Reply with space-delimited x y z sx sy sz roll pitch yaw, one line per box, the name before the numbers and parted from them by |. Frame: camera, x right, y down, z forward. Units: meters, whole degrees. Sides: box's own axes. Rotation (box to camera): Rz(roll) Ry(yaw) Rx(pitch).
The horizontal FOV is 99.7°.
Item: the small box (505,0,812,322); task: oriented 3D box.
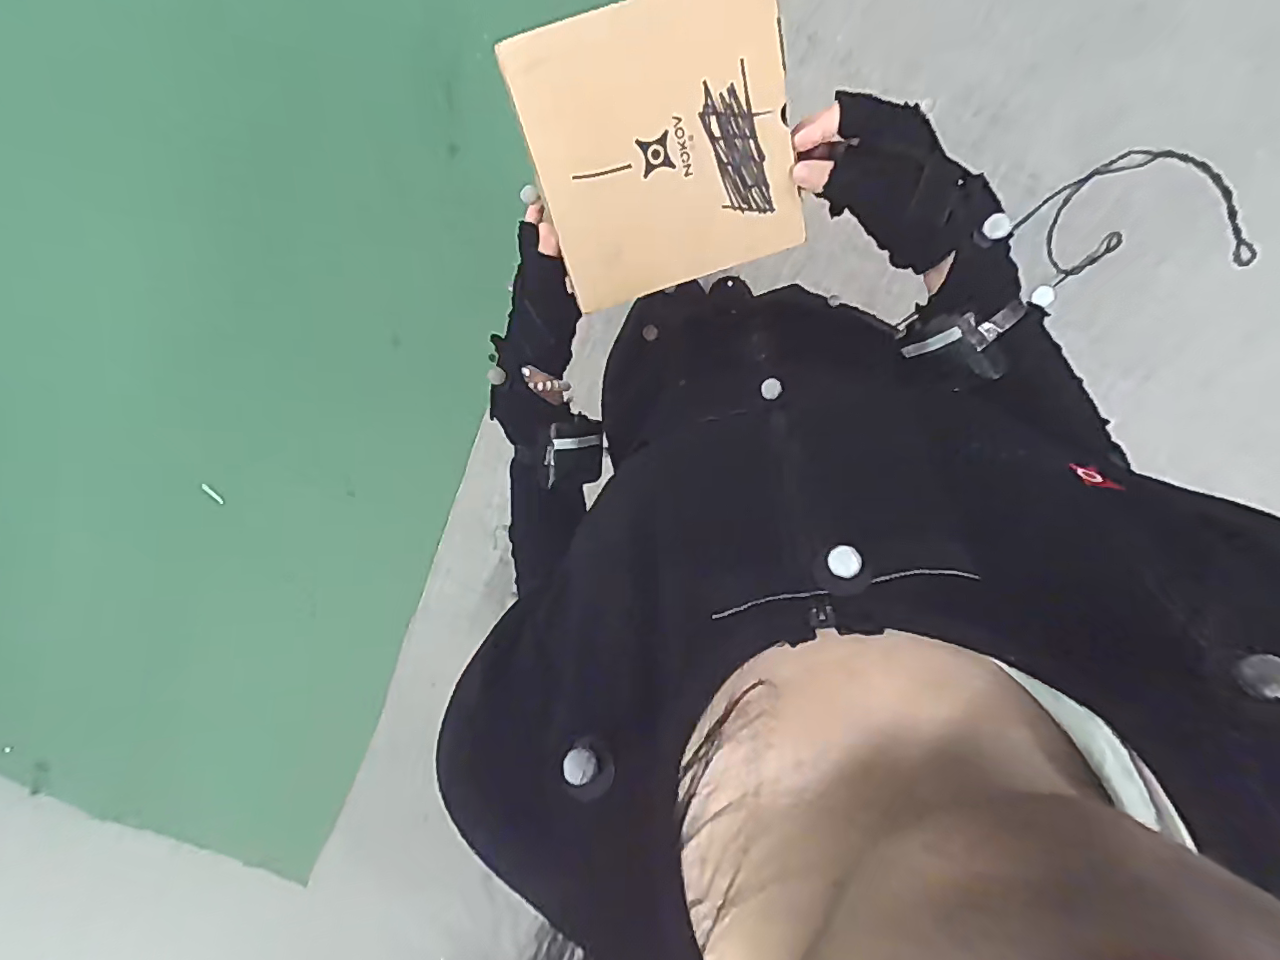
small box | 0.010 -0.242 0.422 0.179 0.176 0.168 -18 117 0
